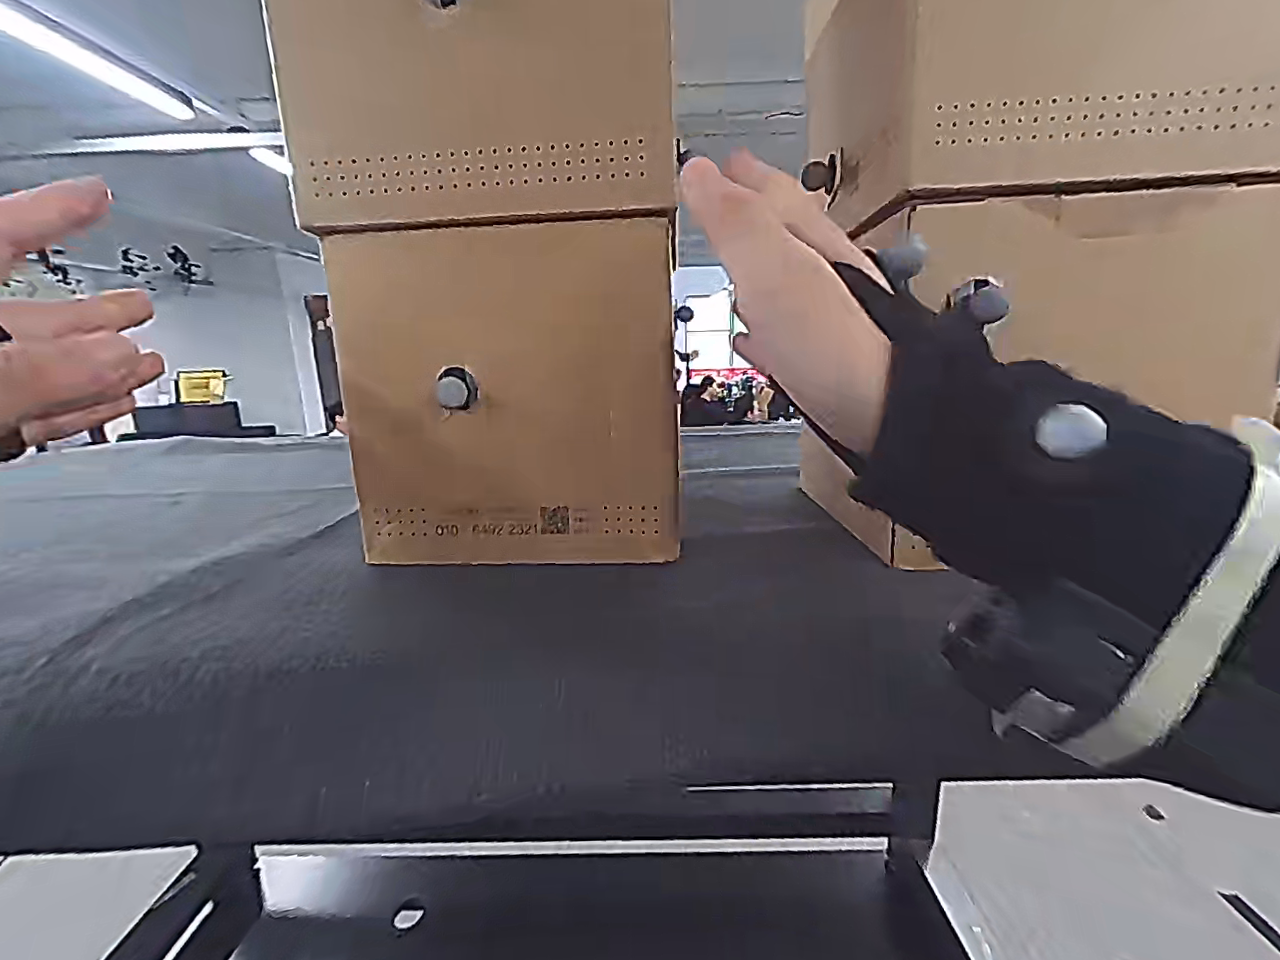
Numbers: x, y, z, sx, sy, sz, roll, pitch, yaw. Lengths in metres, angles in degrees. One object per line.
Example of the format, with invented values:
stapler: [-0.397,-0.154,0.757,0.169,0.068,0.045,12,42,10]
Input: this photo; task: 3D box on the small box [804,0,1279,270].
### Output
small box: [0.192,-0.212,0.282,0.179,0.176,0.168,-3,10,2]

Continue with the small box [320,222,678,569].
small box: [-0.060,-0.049,0.345,0.168,0.176,0.179,-1,12,4]

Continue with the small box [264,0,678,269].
small box: [-0.068,-0.207,0.301,0.179,0.176,0.168,-3,11,5]
